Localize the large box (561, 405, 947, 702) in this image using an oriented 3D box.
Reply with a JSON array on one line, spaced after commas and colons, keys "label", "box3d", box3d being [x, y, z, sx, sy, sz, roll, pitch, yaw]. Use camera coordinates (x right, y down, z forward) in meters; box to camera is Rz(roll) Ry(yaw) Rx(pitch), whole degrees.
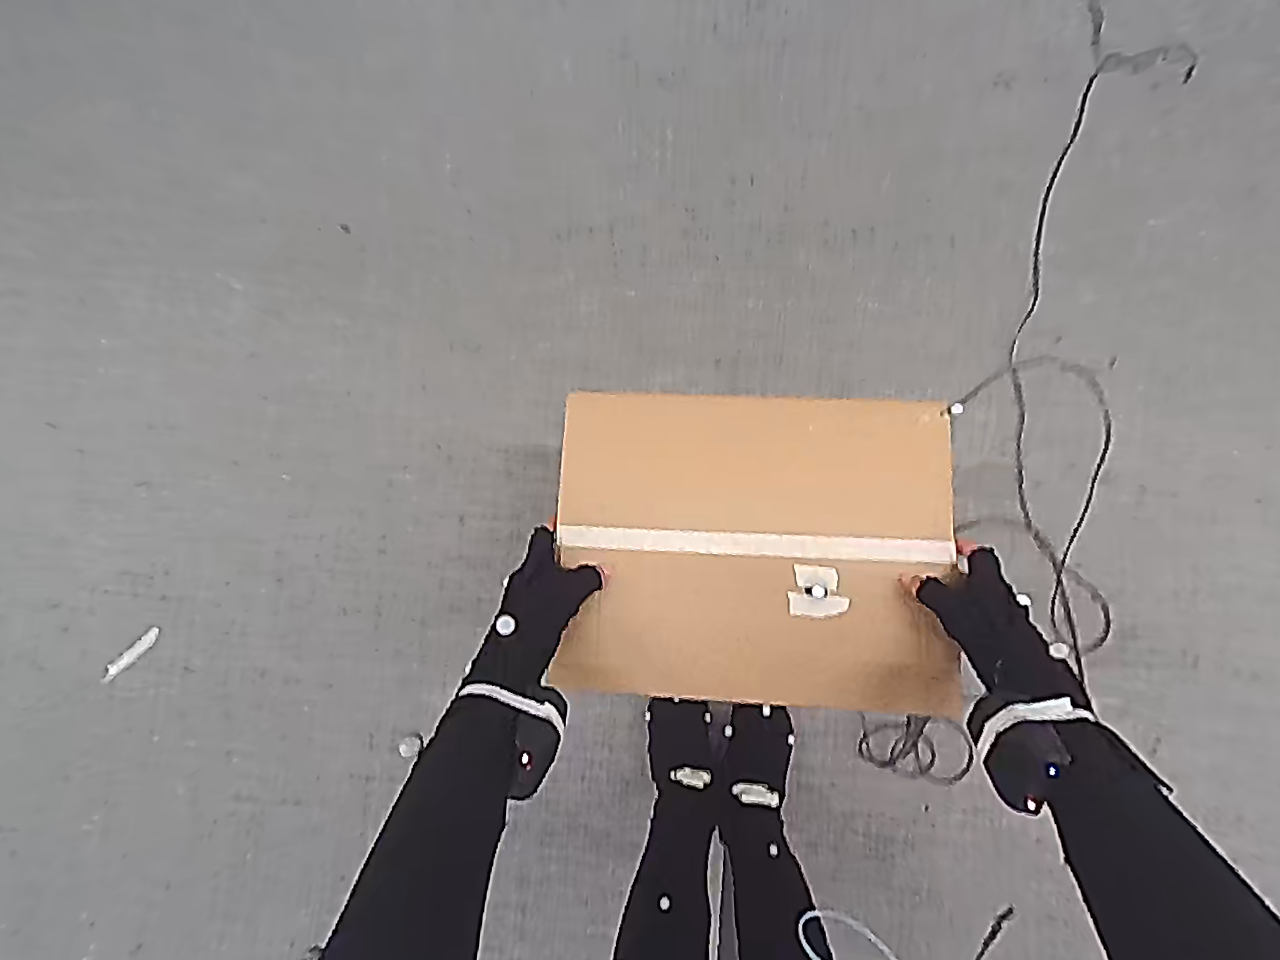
[{"label": "large box", "box3d": [0.126, 0.095, 0.728, 0.408, 0.320, 0.320, 2, 81, 4]}]
